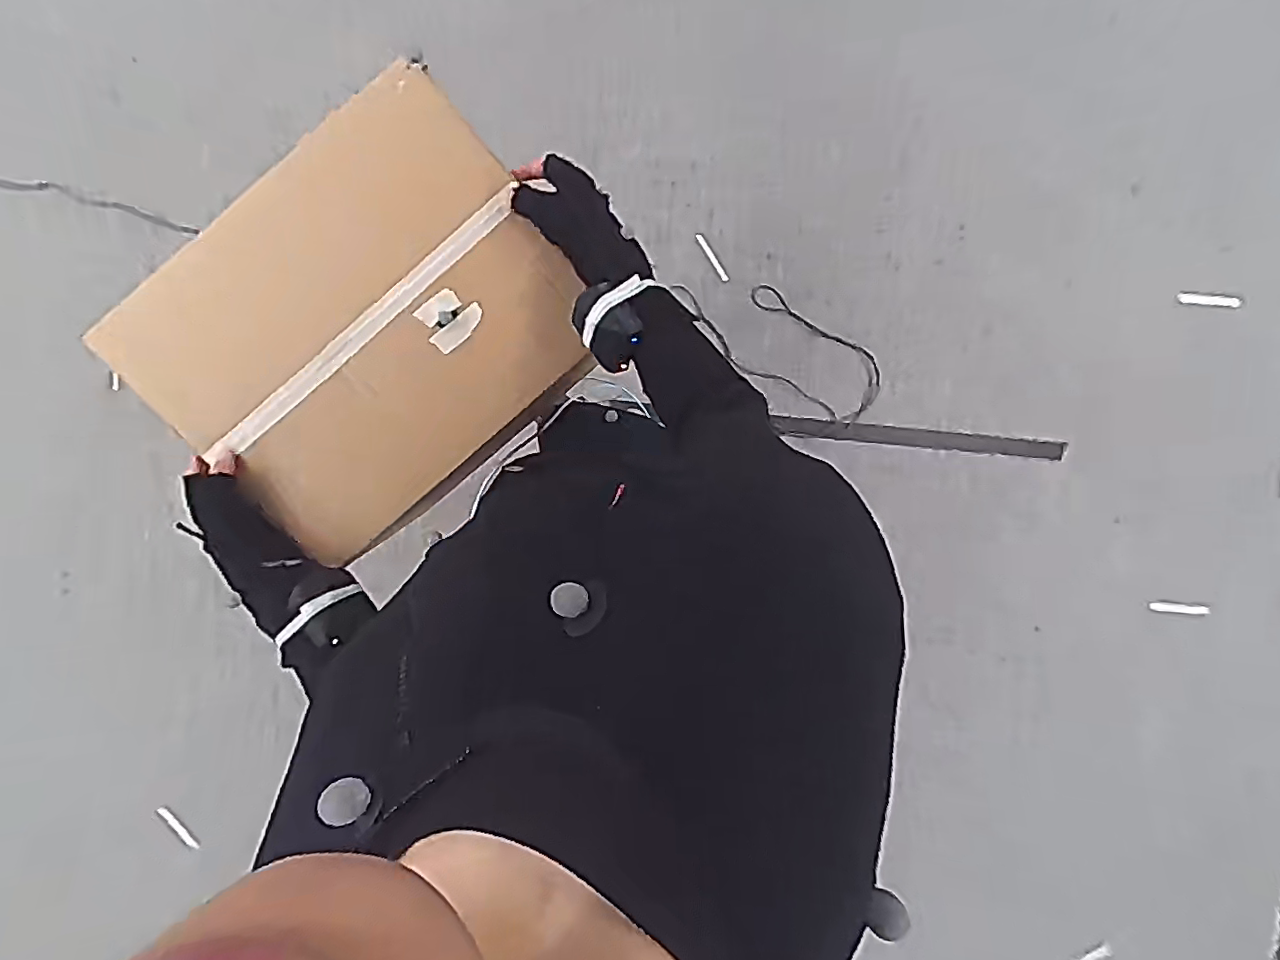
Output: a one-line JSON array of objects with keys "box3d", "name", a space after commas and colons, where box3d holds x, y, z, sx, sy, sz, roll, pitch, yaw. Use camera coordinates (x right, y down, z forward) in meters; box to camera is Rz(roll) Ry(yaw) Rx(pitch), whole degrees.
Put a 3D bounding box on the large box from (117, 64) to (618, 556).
[{"box3d": [-0.280, -0.177, 0.691, 0.408, 0.320, 0.320, -41, 100, 1], "name": "large box"}]
